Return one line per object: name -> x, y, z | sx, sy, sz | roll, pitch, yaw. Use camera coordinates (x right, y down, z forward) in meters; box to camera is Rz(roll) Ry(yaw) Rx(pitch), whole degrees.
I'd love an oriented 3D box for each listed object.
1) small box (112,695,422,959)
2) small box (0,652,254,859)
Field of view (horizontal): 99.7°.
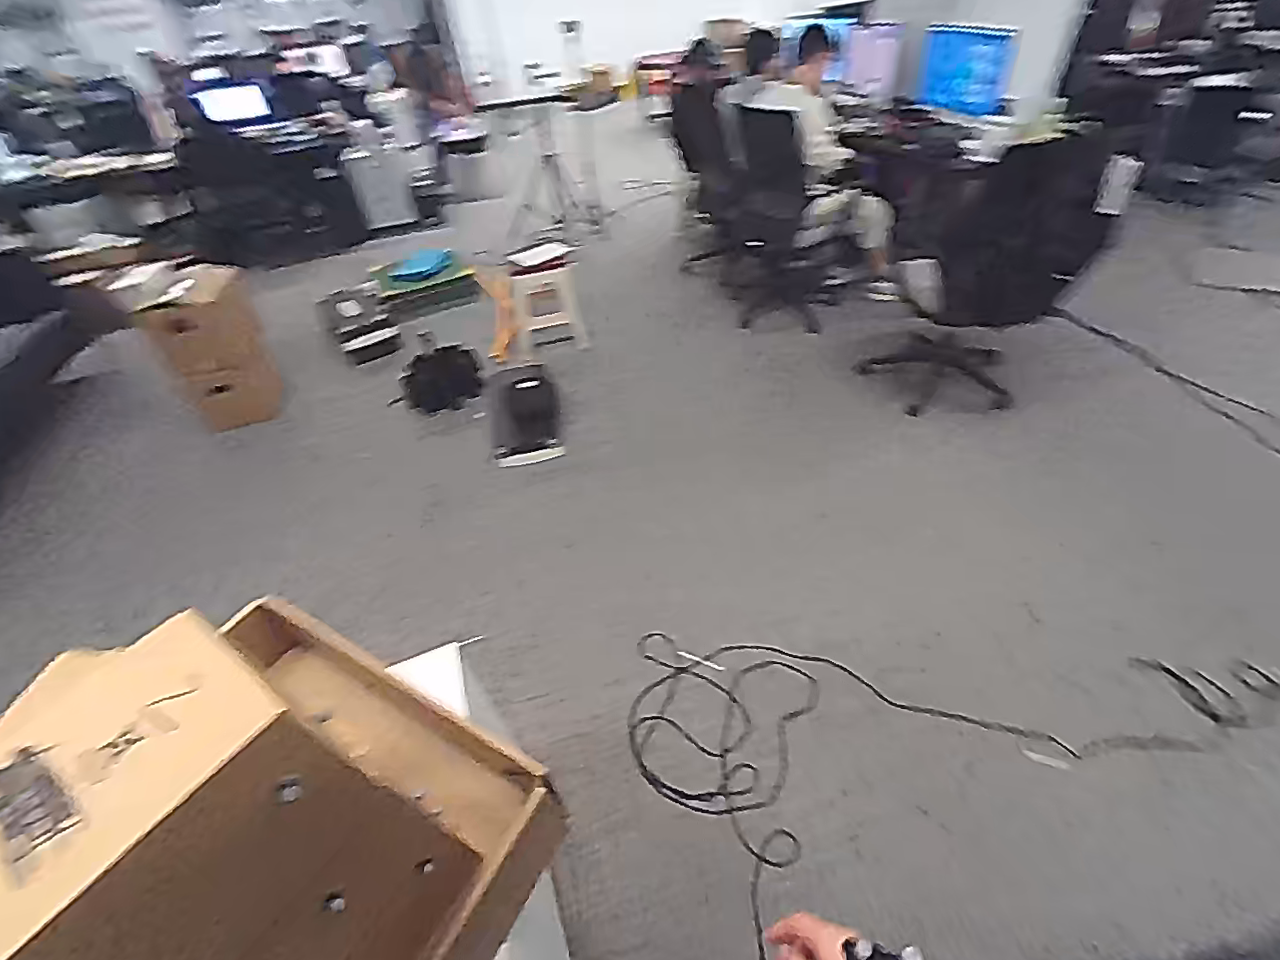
small box -> -0.352, 0.365, 0.552 | 0.168, 0.176, 0.179 | 18, 50, 27
small box -> -0.600, 0.323, 0.633 | 0.168, 0.176, 0.179 | -2, 45, 7
